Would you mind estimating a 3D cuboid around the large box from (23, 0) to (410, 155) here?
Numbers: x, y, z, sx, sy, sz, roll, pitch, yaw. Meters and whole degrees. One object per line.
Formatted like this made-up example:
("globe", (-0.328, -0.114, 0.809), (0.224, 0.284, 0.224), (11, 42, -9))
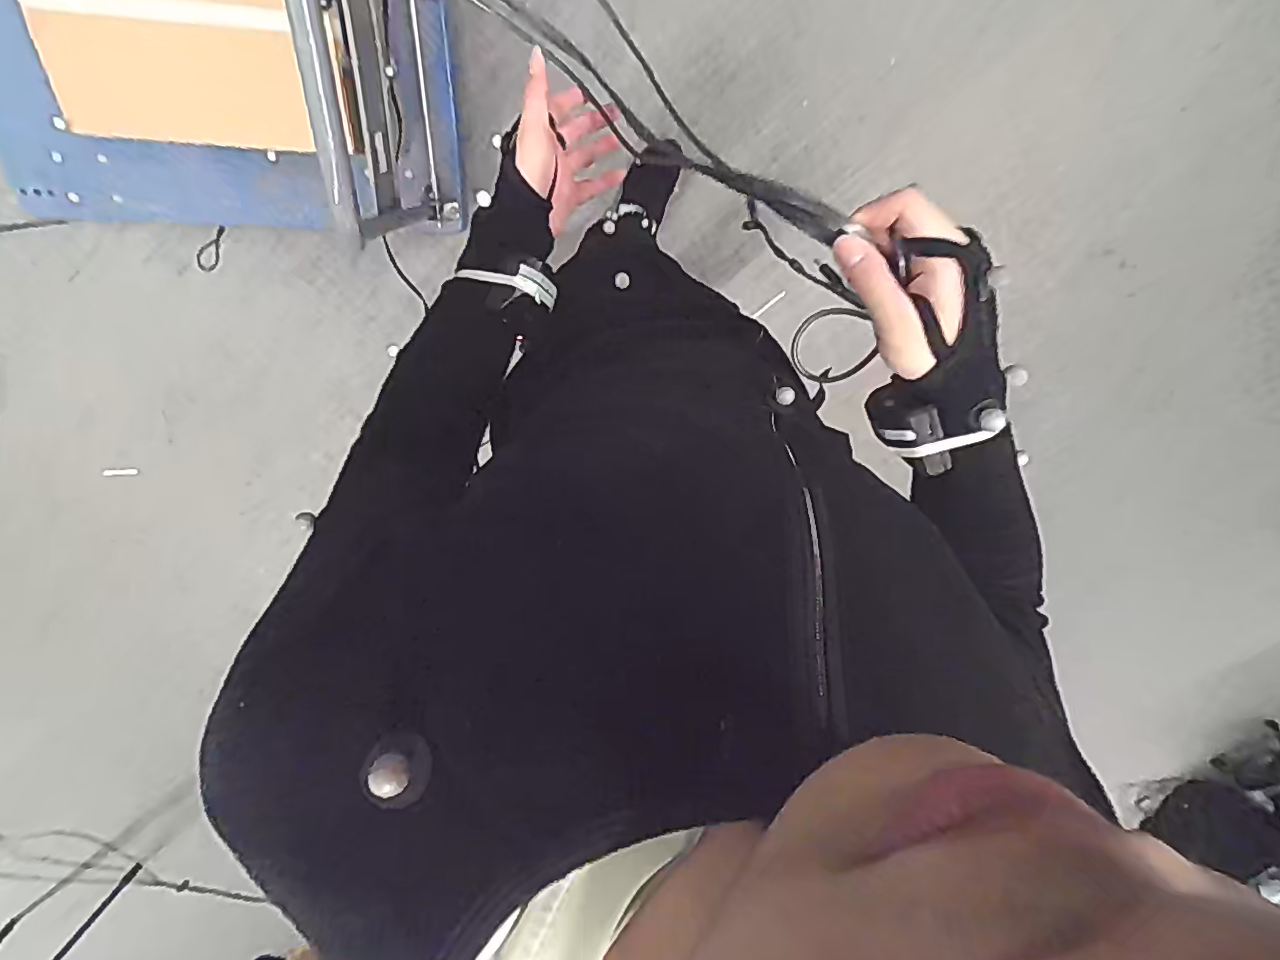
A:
("large box", (-0.640, -0.715, 0.871), (0.408, 0.320, 0.320), (0, 120, -6))
